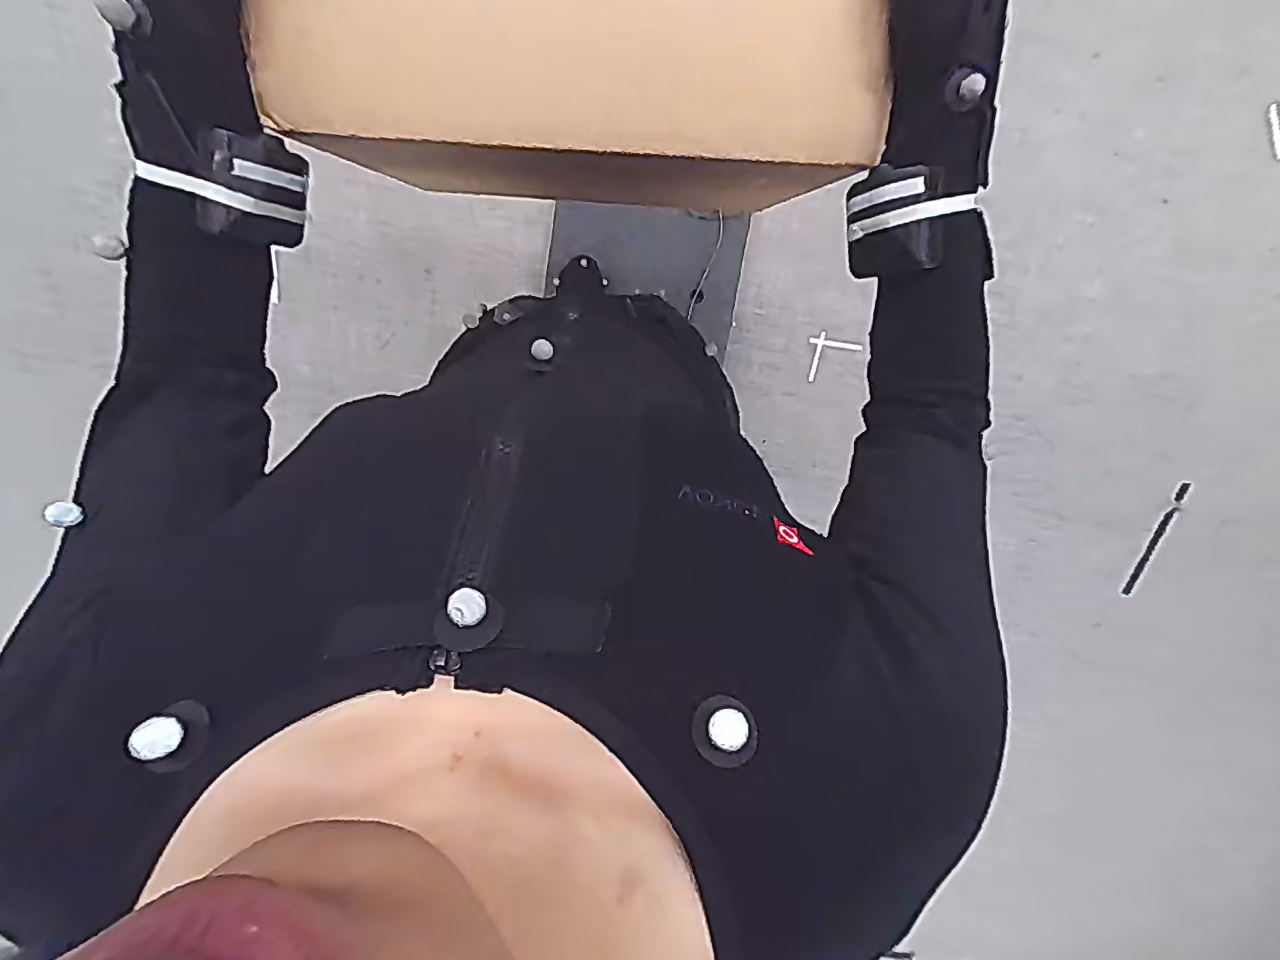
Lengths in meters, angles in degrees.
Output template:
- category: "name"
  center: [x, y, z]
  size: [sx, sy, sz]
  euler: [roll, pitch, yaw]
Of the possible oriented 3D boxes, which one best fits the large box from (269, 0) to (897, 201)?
- category: "large box"
  center: [-0.037, -0.430, 0.452]
  size: [0.408, 0.320, 0.320]
  euler: [1, 112, -4]
